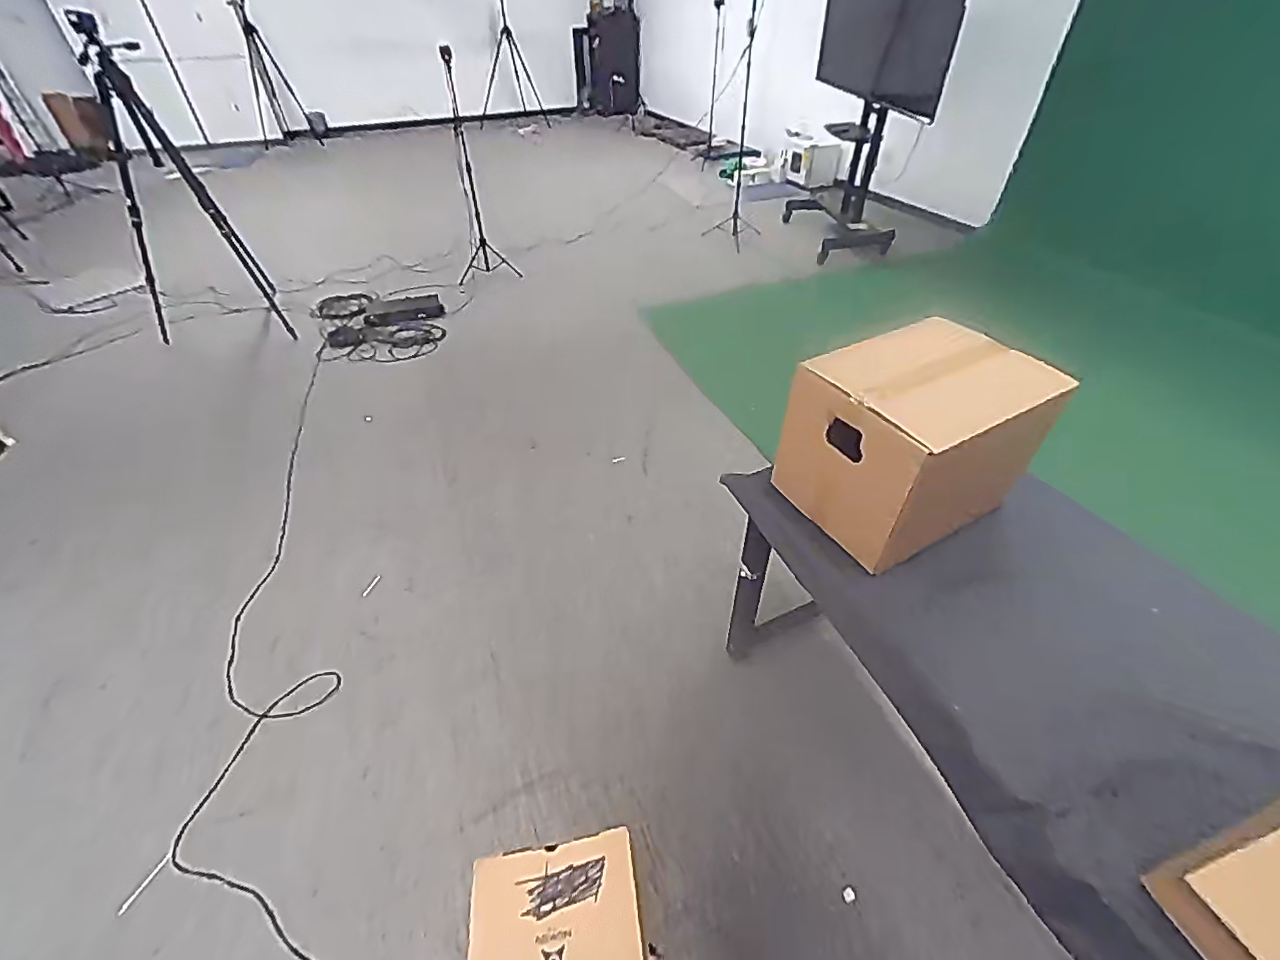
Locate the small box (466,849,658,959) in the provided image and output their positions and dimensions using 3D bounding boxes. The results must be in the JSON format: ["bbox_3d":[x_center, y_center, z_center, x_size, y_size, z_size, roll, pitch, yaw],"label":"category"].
[{"bbox_3d":[-0.069,0.506,0.541,0.168,0.176,0.179,-12,44,-2],"label":"small box"}]
